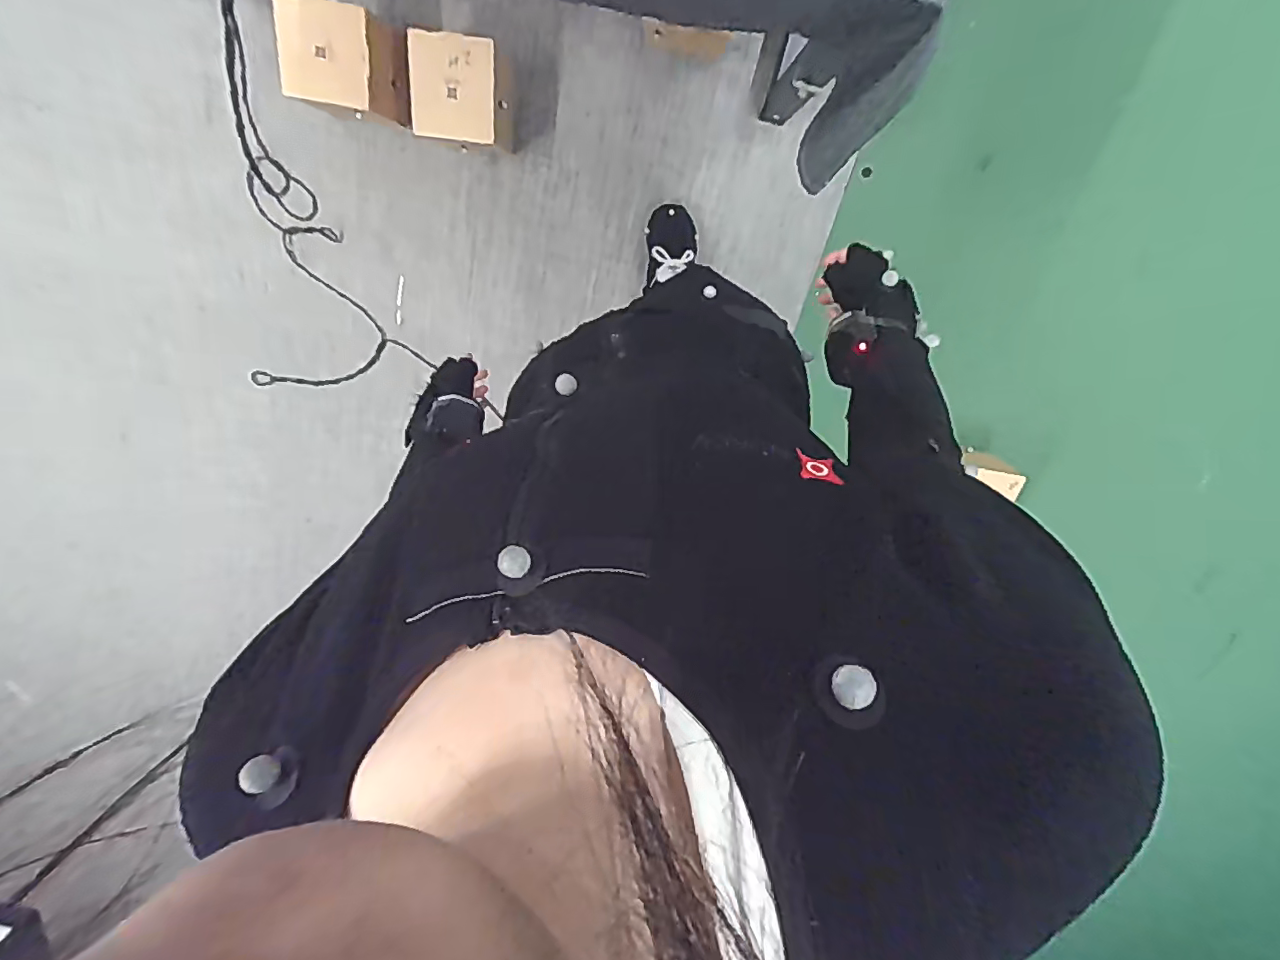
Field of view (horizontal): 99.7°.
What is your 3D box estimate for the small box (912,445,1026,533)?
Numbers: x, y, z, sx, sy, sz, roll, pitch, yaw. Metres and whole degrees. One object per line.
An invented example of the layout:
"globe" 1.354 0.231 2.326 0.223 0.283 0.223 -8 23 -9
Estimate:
"small box" 0.869 0.018 1.453 0.179 0.176 0.168 12 114 -3
